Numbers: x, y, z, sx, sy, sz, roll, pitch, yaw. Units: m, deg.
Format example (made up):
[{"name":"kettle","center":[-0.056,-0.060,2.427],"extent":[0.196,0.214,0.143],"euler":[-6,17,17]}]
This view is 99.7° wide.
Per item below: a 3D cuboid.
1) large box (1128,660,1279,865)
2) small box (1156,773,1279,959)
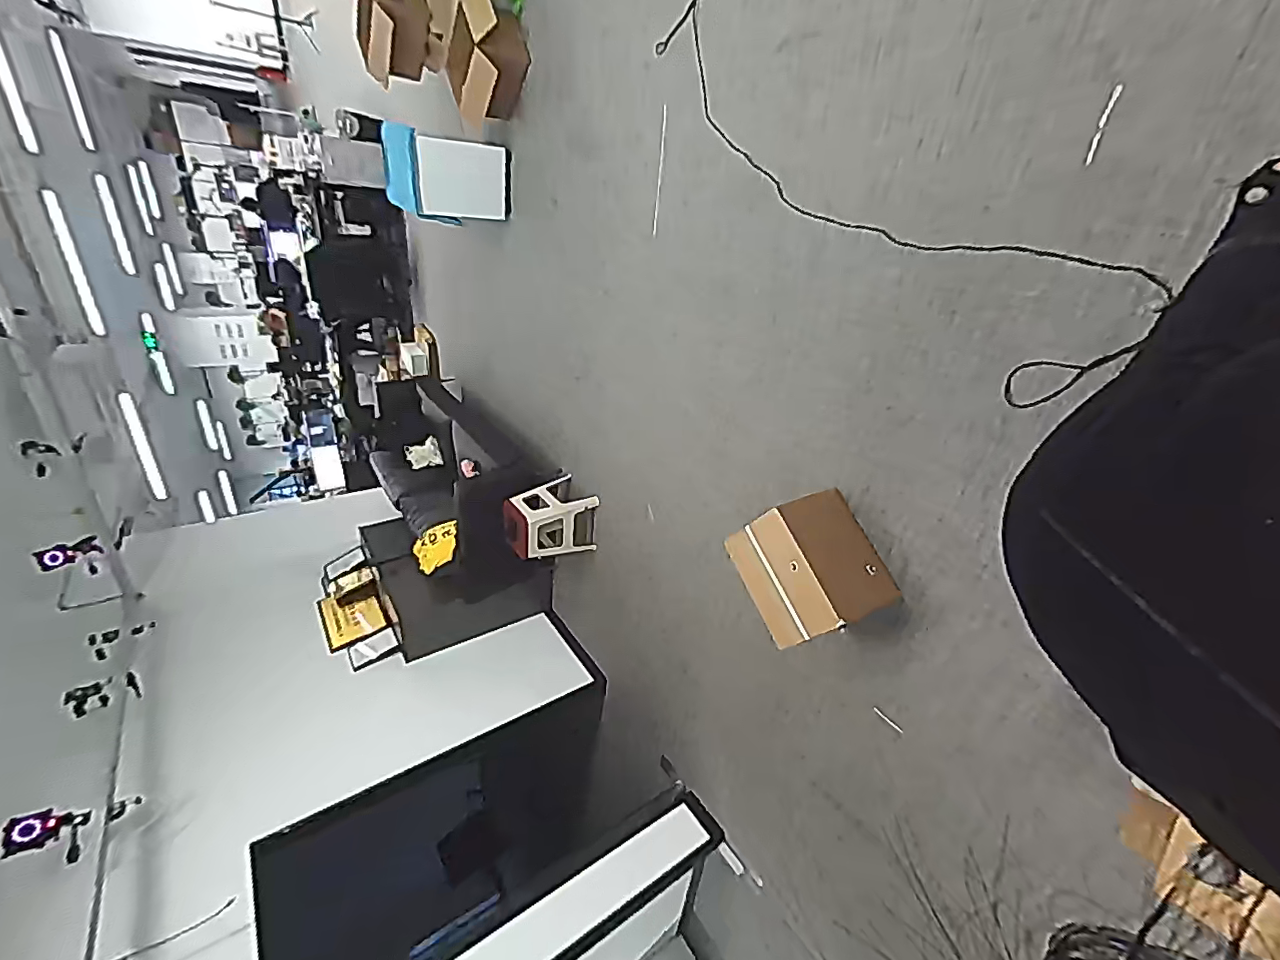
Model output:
[{"name":"large box","center":[1.207,0.594,0.974],"extent":[0.408,0.320,0.320],"euler":[20,118,51]},{"name":"small box","center":[0.982,0.619,0.869],"extent":[0.168,0.176,0.179],"euler":[22,118,52]}]
